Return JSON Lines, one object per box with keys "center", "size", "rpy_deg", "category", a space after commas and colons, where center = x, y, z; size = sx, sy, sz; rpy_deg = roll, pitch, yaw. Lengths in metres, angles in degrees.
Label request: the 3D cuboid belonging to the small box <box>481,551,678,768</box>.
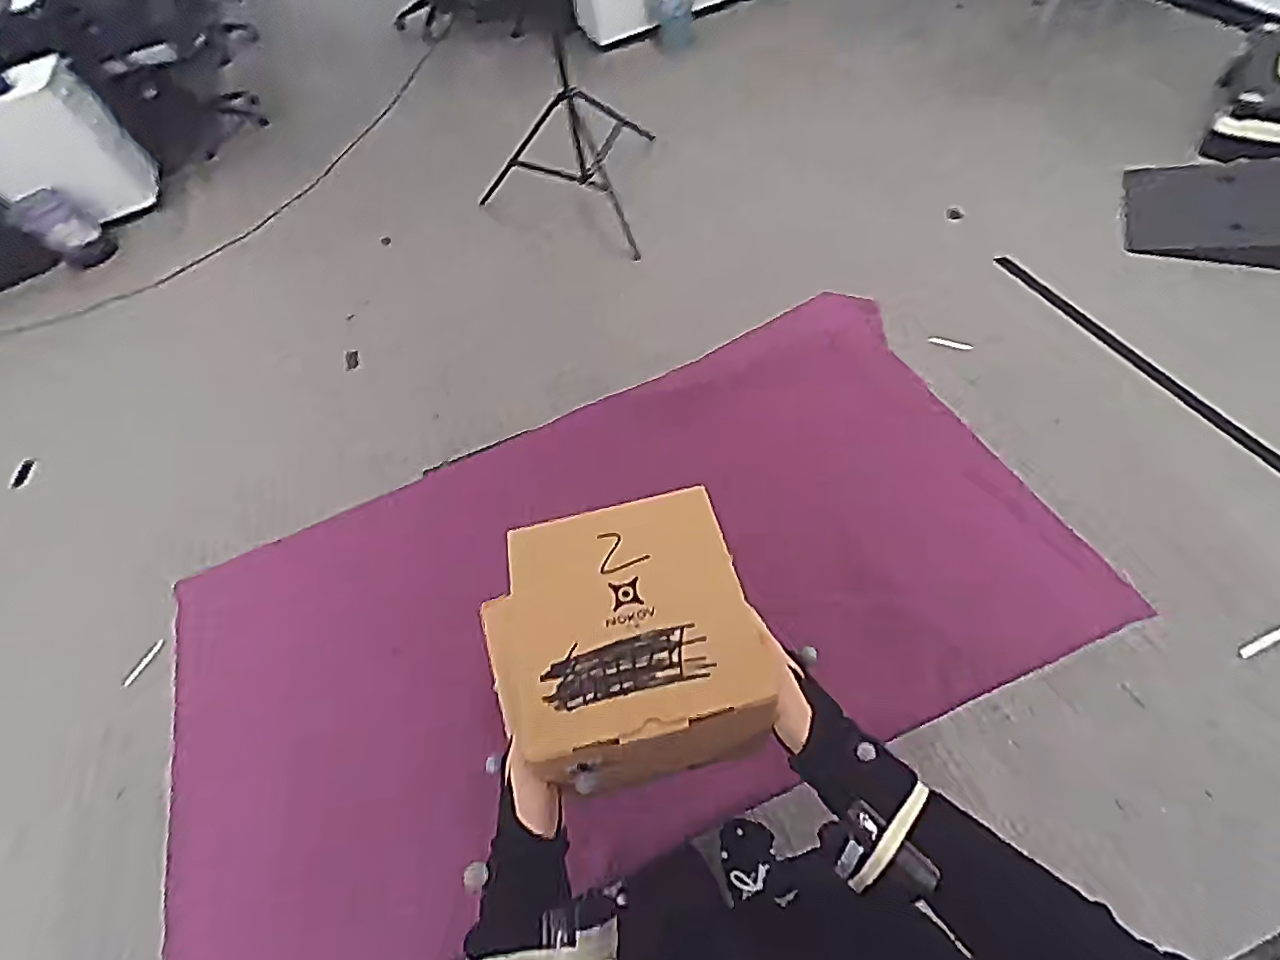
{"center": [-0.065, 0.216, 0.637], "size": [0.168, 0.176, 0.179], "rpy_deg": [-23, 59, -4], "category": "small box"}
